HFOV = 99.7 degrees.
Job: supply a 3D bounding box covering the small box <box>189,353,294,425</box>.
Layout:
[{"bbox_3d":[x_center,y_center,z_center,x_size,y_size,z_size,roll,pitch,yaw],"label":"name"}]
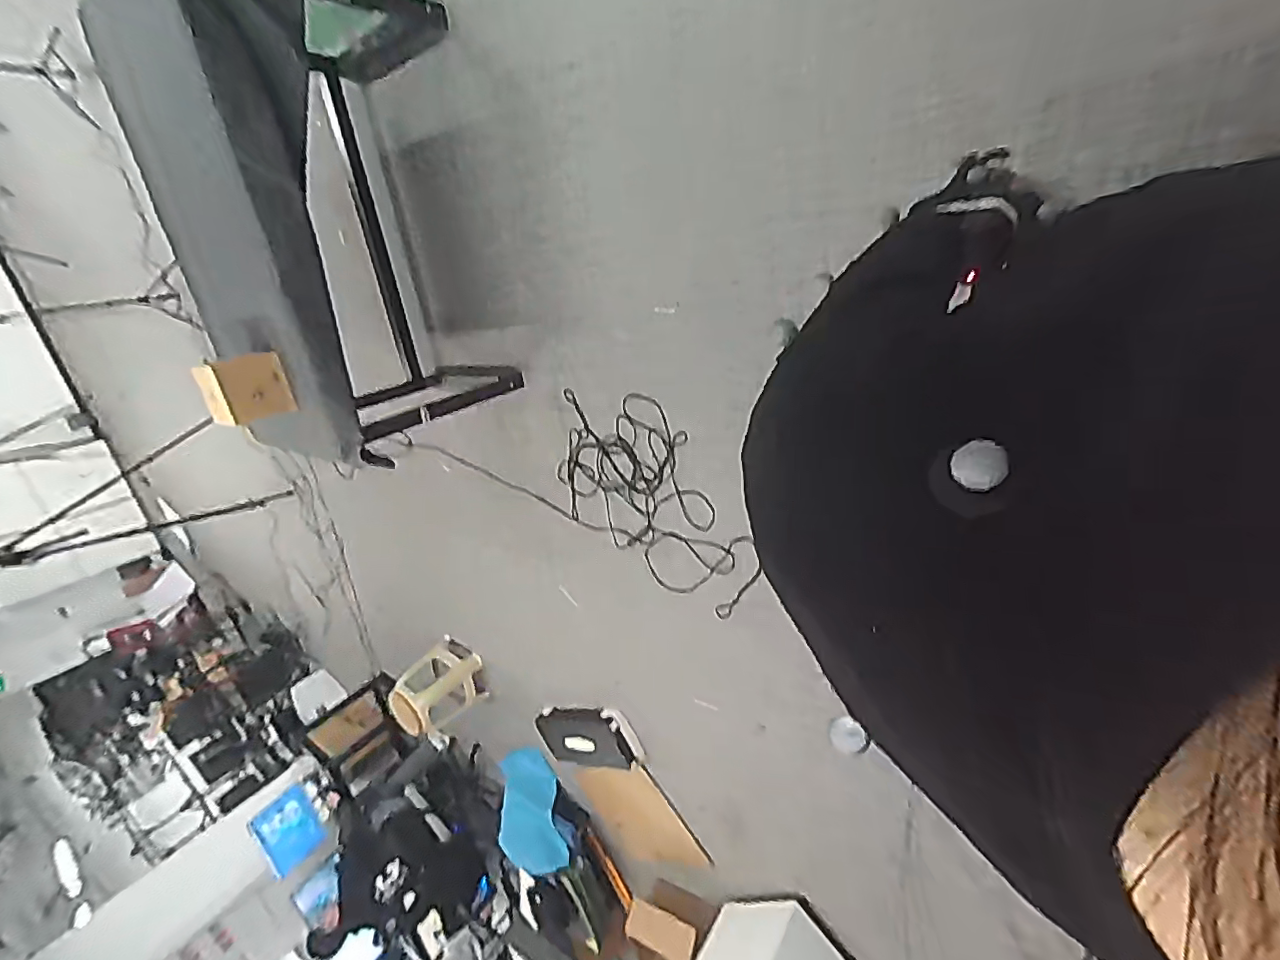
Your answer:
[{"bbox_3d":[-1.114,-0.261,1.525,0.179,0.176,0.168,8,117,37],"label":"small box"}]
